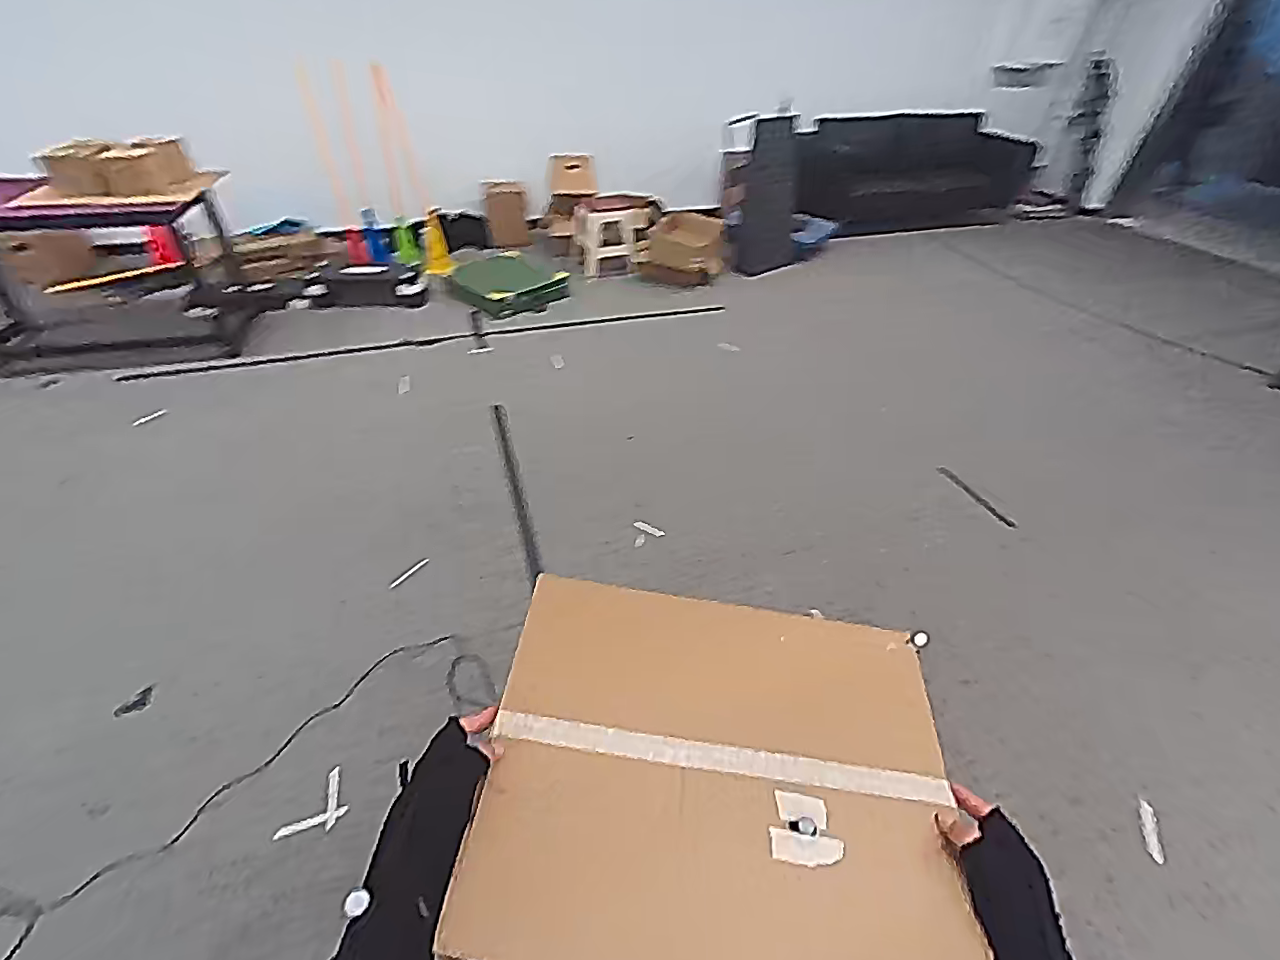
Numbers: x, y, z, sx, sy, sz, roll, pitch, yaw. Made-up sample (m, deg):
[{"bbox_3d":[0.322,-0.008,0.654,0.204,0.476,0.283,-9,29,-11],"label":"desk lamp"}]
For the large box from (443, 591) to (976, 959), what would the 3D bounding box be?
[{"bbox_3d":[0.052,0.355,0.590,0.408,0.320,0.320,9,48,0],"label":"large box"}]
